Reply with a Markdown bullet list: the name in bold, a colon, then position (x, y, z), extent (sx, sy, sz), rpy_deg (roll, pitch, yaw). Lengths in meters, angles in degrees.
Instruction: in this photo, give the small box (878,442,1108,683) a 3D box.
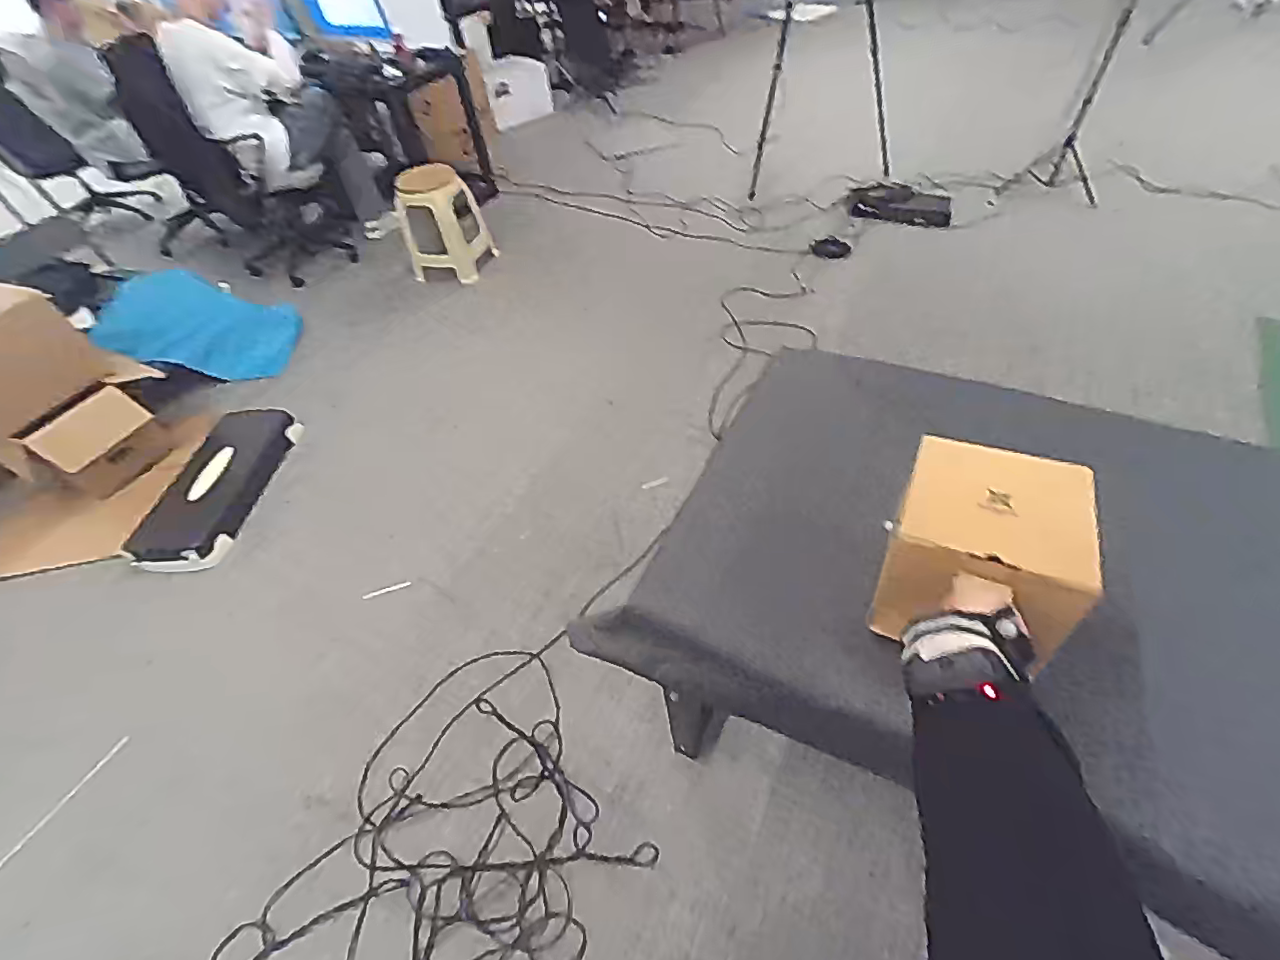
- **small box**: position (0.384, 0.089, 0.611), extent (0.168, 0.176, 0.179), rpy_deg (17, 47, 24)
